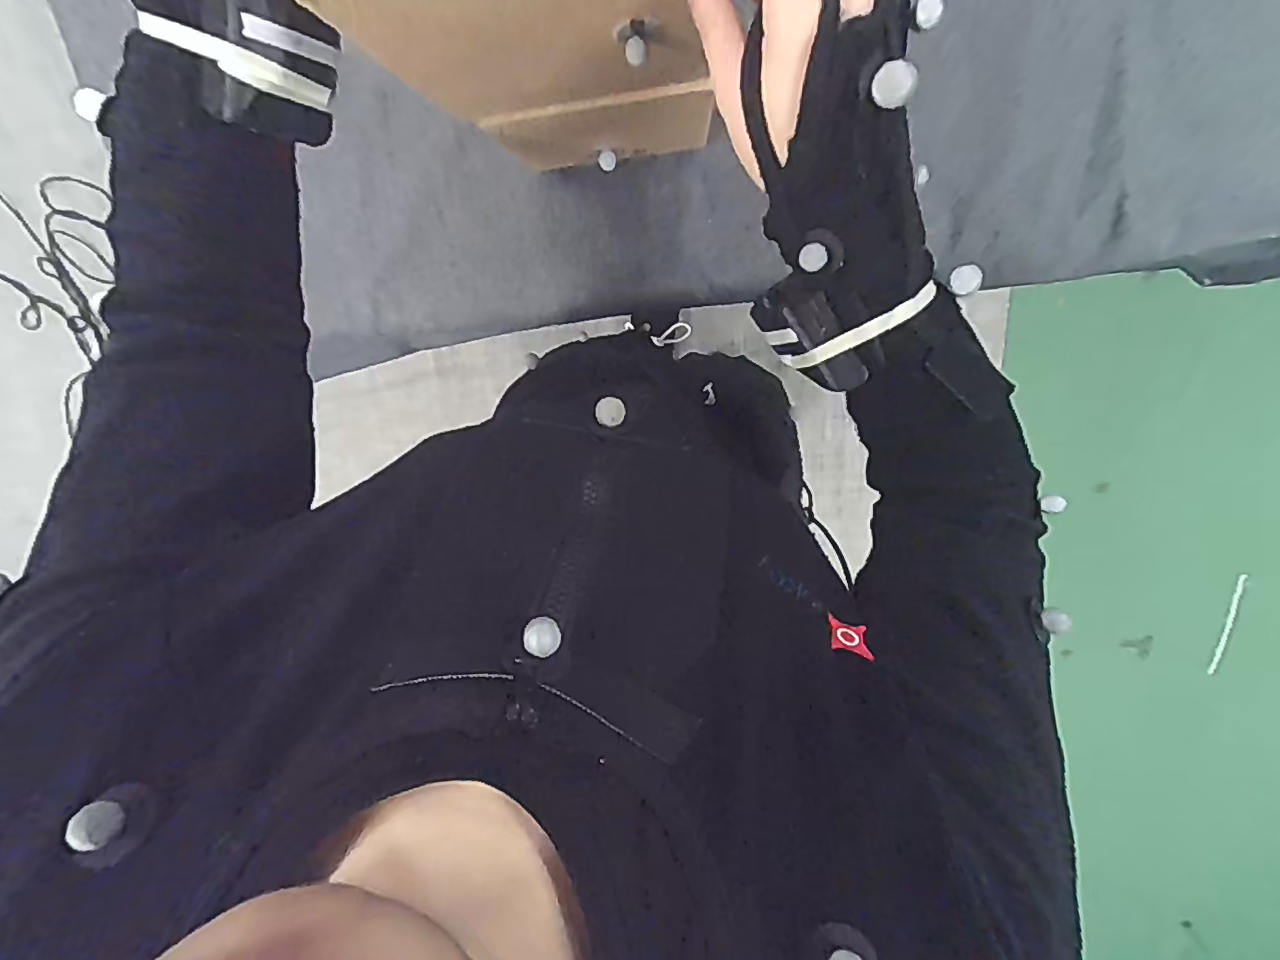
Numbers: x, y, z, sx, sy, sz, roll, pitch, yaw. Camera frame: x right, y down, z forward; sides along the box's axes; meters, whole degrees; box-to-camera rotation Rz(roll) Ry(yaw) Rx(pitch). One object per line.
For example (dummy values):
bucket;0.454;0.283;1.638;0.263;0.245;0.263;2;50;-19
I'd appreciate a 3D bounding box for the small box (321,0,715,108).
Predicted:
small box;-0.053;-0.307;0.258;0.179;0.176;0.168;-5;109;7

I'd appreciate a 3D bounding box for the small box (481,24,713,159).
small box;-0.036;-0.366;0.408;0.168;0.176;0.179;-4;111;6
